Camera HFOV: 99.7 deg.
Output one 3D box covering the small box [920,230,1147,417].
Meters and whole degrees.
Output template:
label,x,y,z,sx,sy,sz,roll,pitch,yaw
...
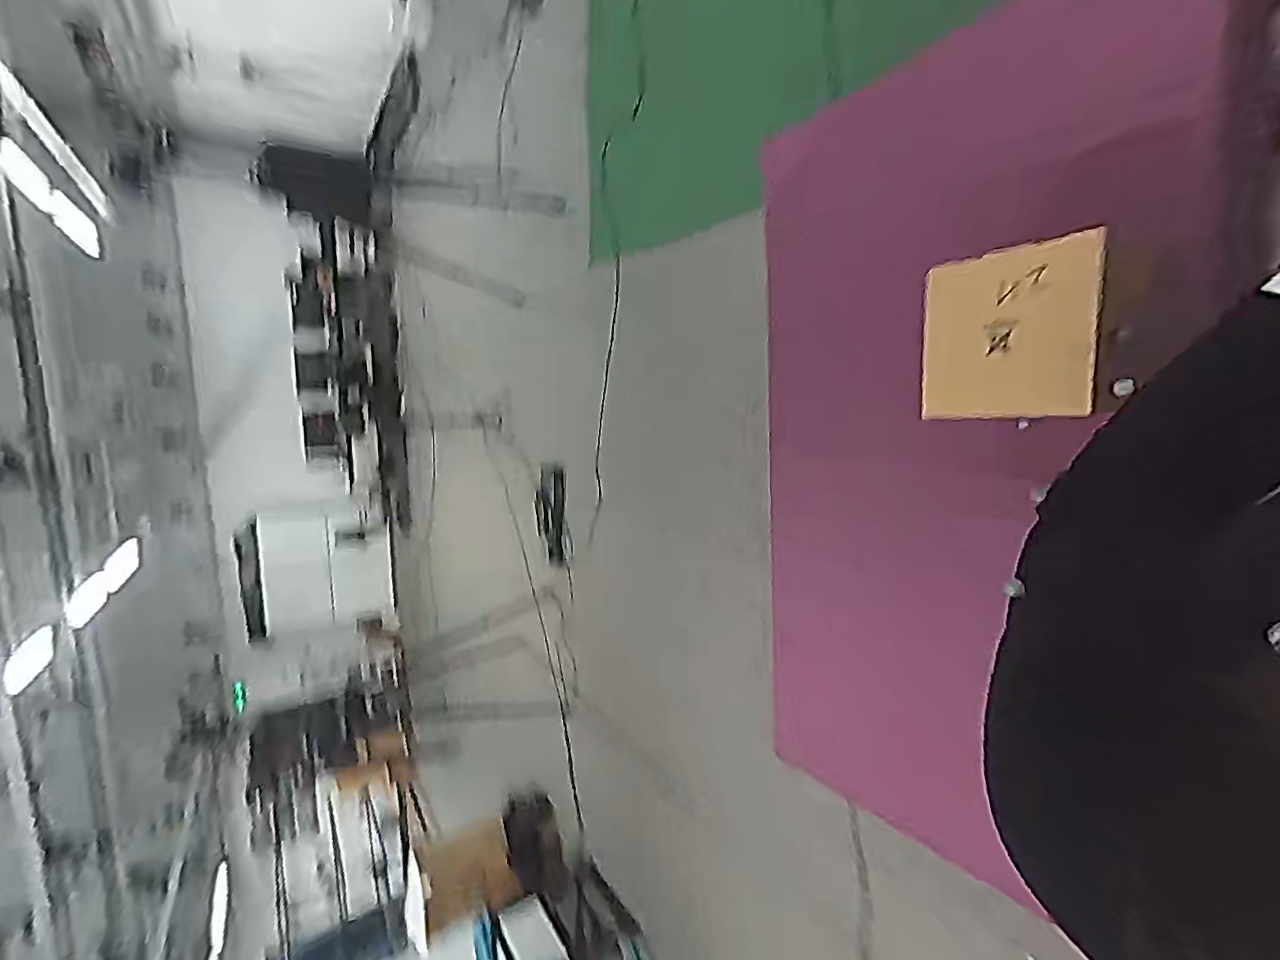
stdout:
label,x,y,z,sx,sy,sz,roll,pitch,yaw
small box,0.450,-0.164,0.624,0.168,0.176,0.179,8,101,55
